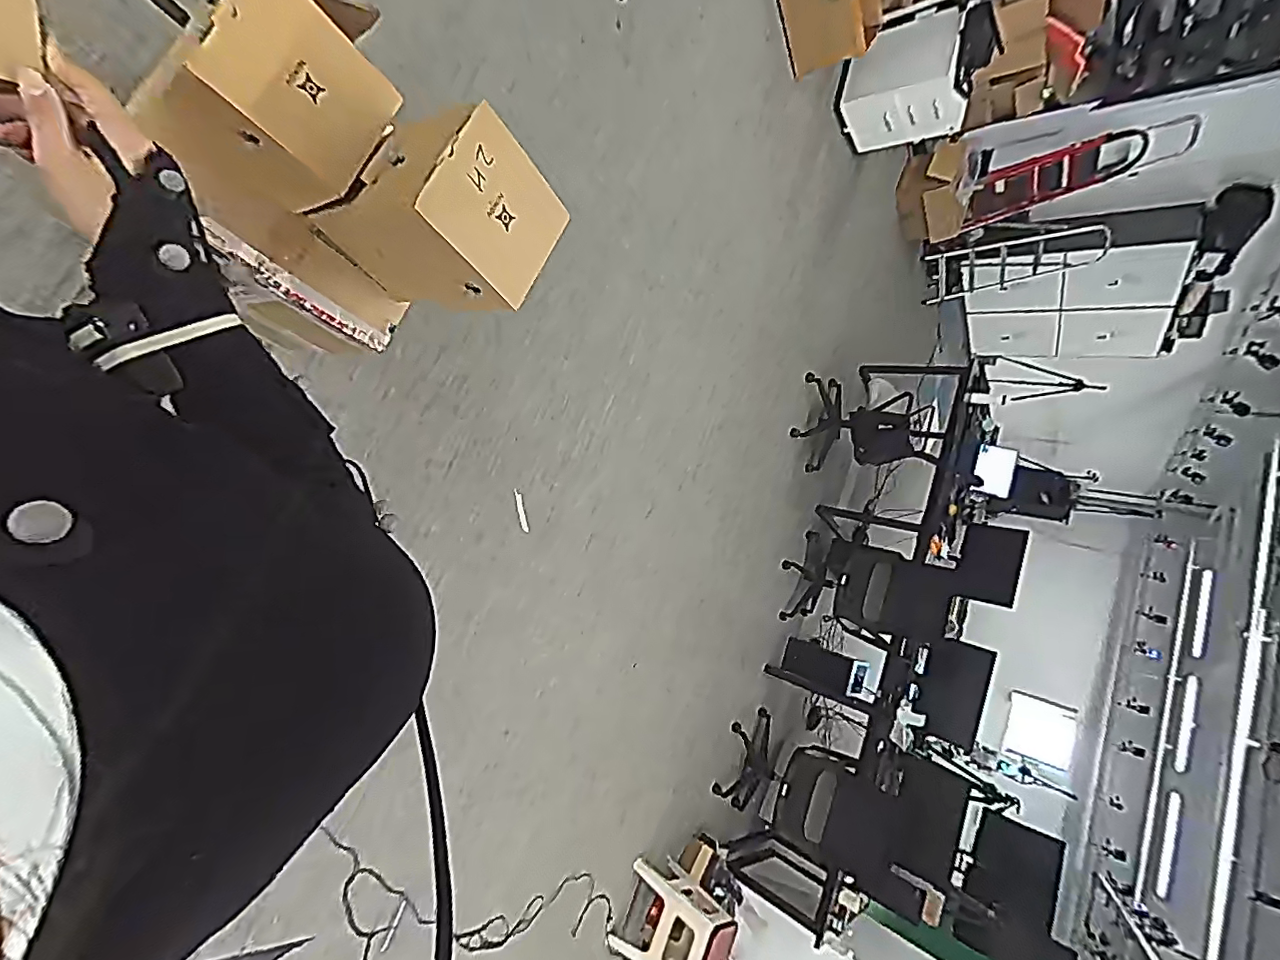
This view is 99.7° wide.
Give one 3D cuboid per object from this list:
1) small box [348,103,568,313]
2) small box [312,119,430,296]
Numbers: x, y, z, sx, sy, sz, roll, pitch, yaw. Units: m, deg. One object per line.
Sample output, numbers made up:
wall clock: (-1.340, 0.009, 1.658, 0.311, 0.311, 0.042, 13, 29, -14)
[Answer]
small box: (-0.234, -0.343, 0.709, 0.179, 0.176, 0.168, 42, 68, -49)
small box: (-0.349, -0.395, 0.818, 0.179, 0.176, 0.168, 47, 65, -48)
